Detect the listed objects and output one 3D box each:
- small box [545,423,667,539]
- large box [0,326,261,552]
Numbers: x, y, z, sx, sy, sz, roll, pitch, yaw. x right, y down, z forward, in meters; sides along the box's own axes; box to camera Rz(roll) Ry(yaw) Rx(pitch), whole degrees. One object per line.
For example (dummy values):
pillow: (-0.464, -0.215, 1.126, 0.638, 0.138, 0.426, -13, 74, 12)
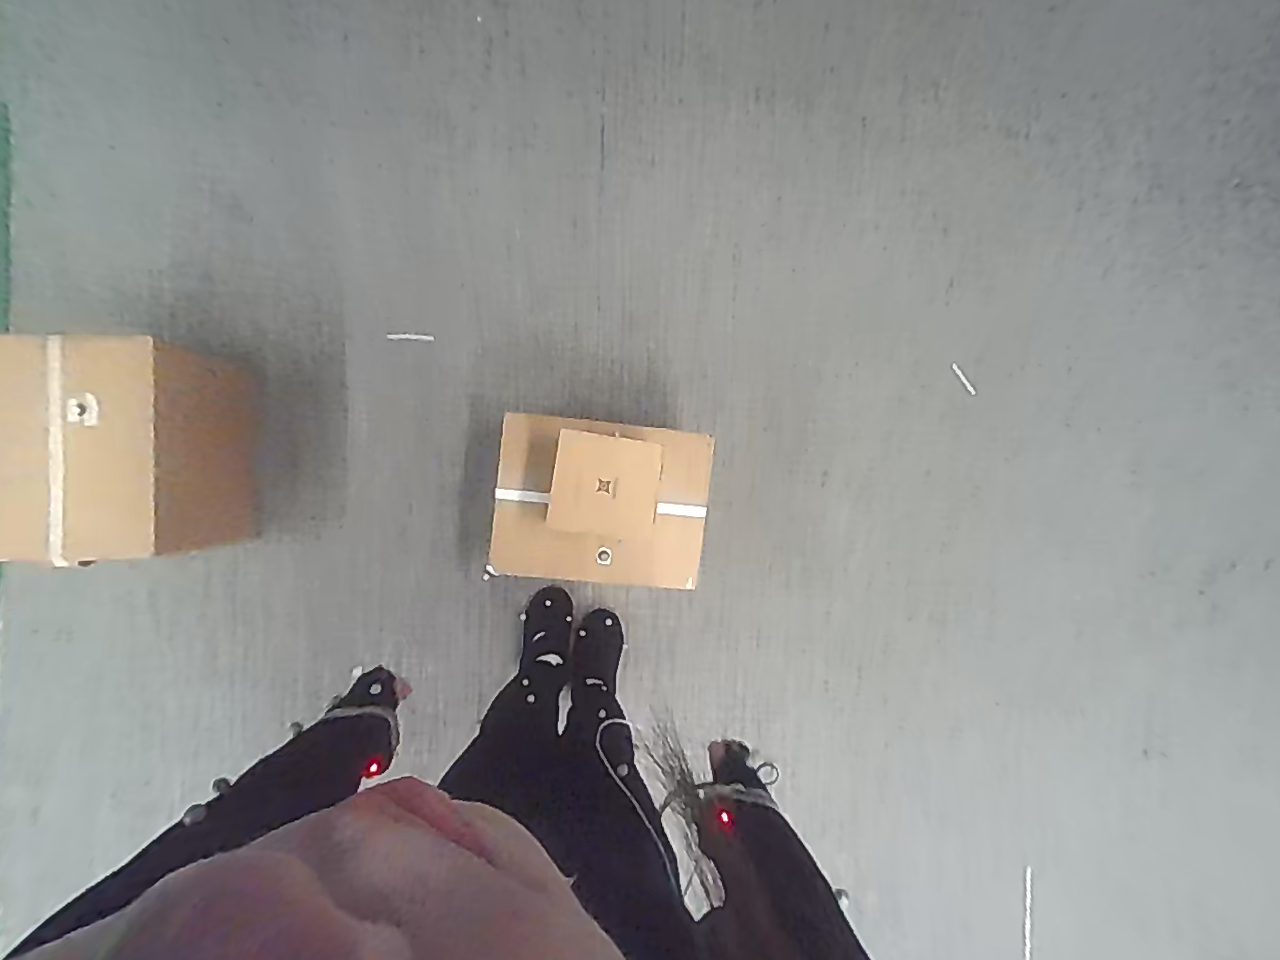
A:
small box: (-0.061, 0.003, 0.952, 0.179, 0.176, 0.168, 10, 87, -5)
large box: (-1.029, -0.072, 1.106, 0.320, 0.320, 0.408, 0, 90, -5)
